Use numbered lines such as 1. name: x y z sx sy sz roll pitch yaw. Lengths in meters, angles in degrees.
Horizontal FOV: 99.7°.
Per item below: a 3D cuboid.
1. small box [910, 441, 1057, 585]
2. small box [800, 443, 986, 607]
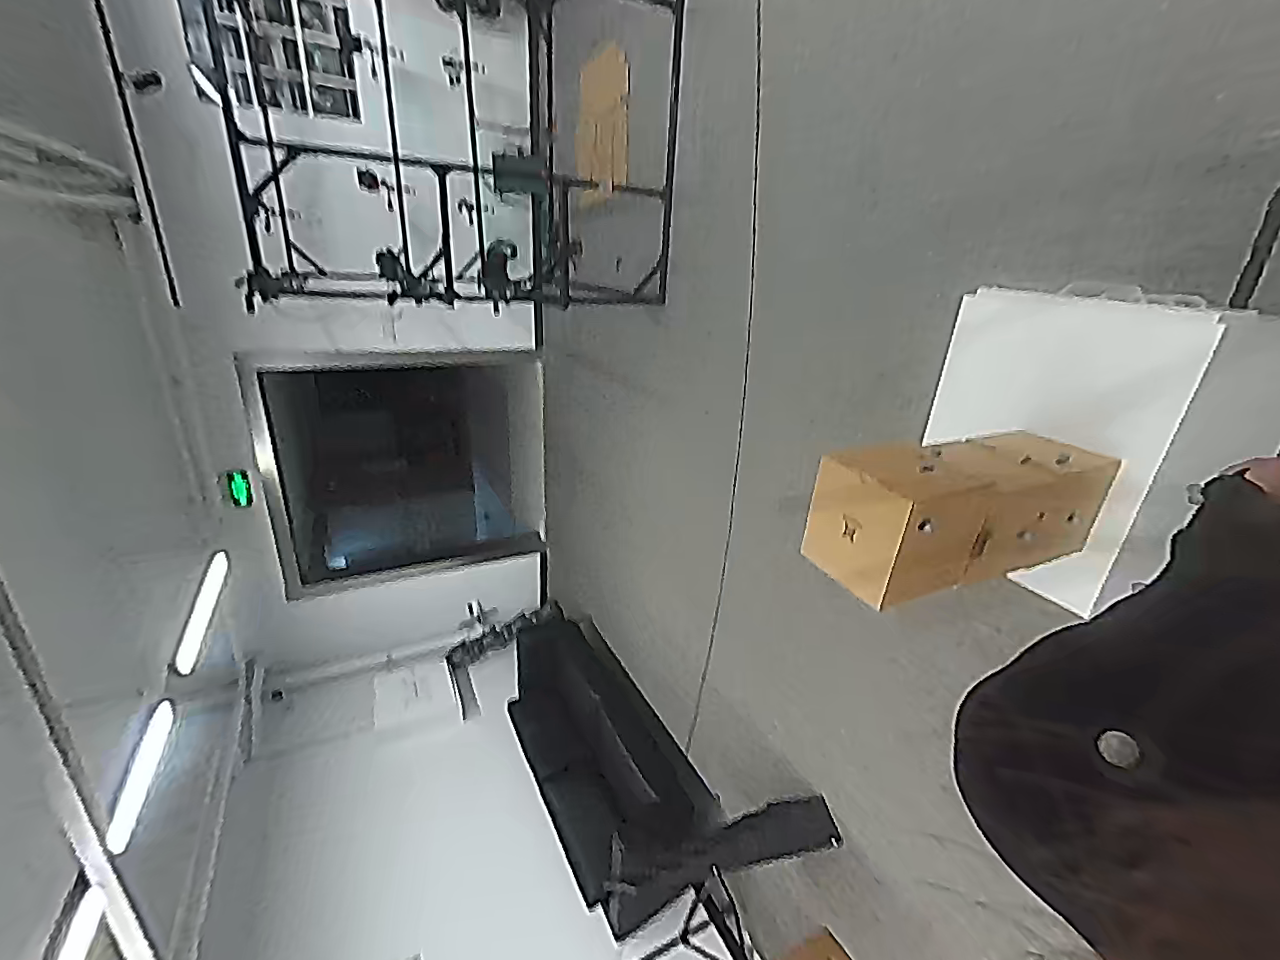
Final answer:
1. small box: 0.516 0.043 0.879 0.179 0.176 0.168 44 136 53
2. small box: 0.371 0.057 0.805 0.168 0.176 0.179 43 134 54
